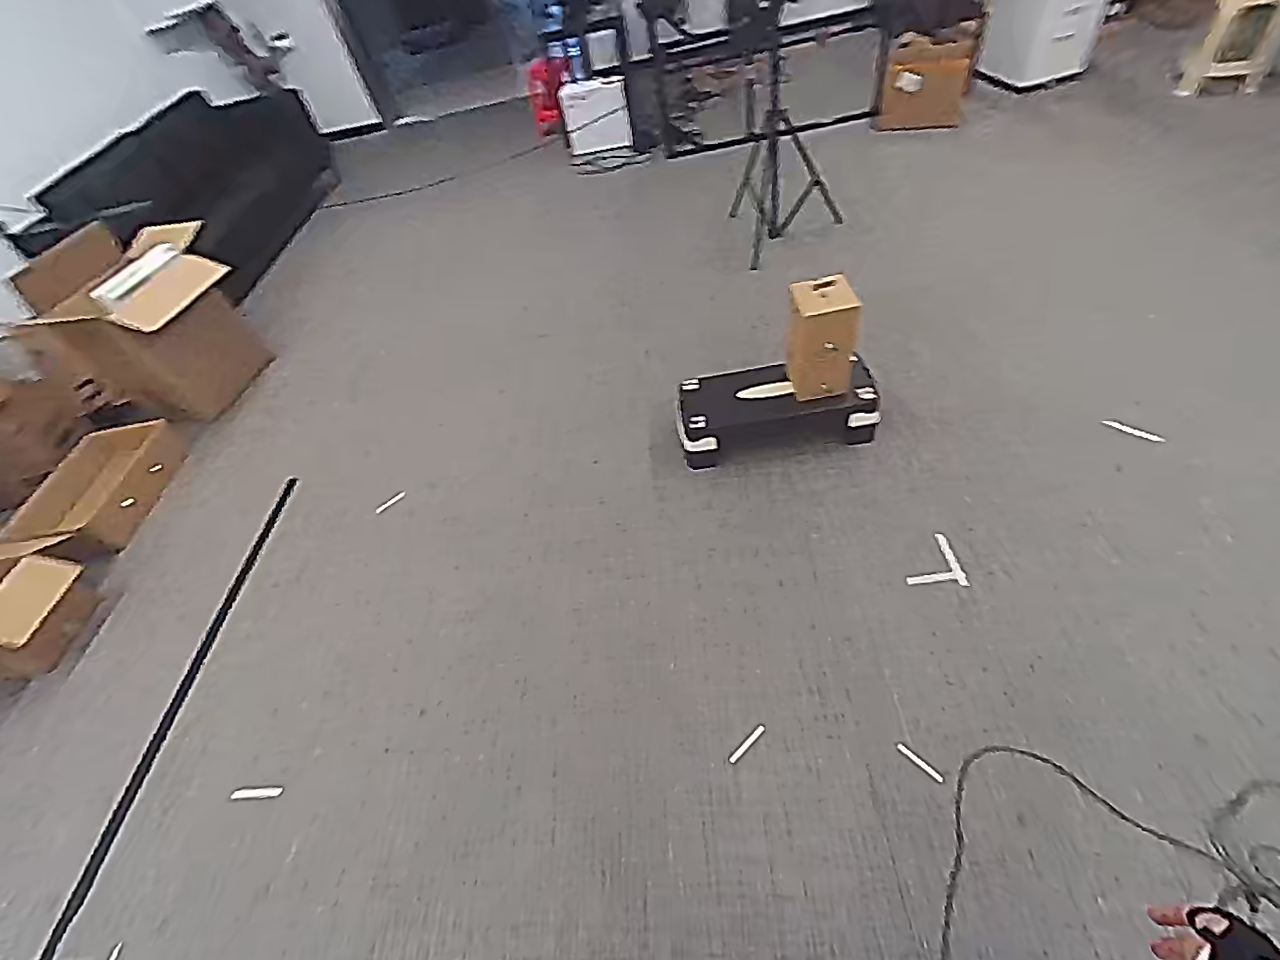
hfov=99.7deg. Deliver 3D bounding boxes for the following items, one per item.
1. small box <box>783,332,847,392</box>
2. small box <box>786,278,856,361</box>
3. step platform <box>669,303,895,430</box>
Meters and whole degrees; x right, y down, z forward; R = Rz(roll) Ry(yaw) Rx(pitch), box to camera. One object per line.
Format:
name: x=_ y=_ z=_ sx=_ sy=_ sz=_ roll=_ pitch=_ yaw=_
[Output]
small box: x=0.579 y=-0.392 z=1.814 sx=0.168 sy=0.176 sz=0.179 roll=-10 pitch=50 yaw=6
small box: x=0.557 y=-0.500 z=1.691 sx=0.168 sy=0.176 sz=0.179 roll=-10 pitch=50 yaw=6
step platform: x=0.446 y=-0.366 z=1.777 sx=0.684 sy=0.204 sz=0.286 roll=-9 pitch=49 yaw=6
